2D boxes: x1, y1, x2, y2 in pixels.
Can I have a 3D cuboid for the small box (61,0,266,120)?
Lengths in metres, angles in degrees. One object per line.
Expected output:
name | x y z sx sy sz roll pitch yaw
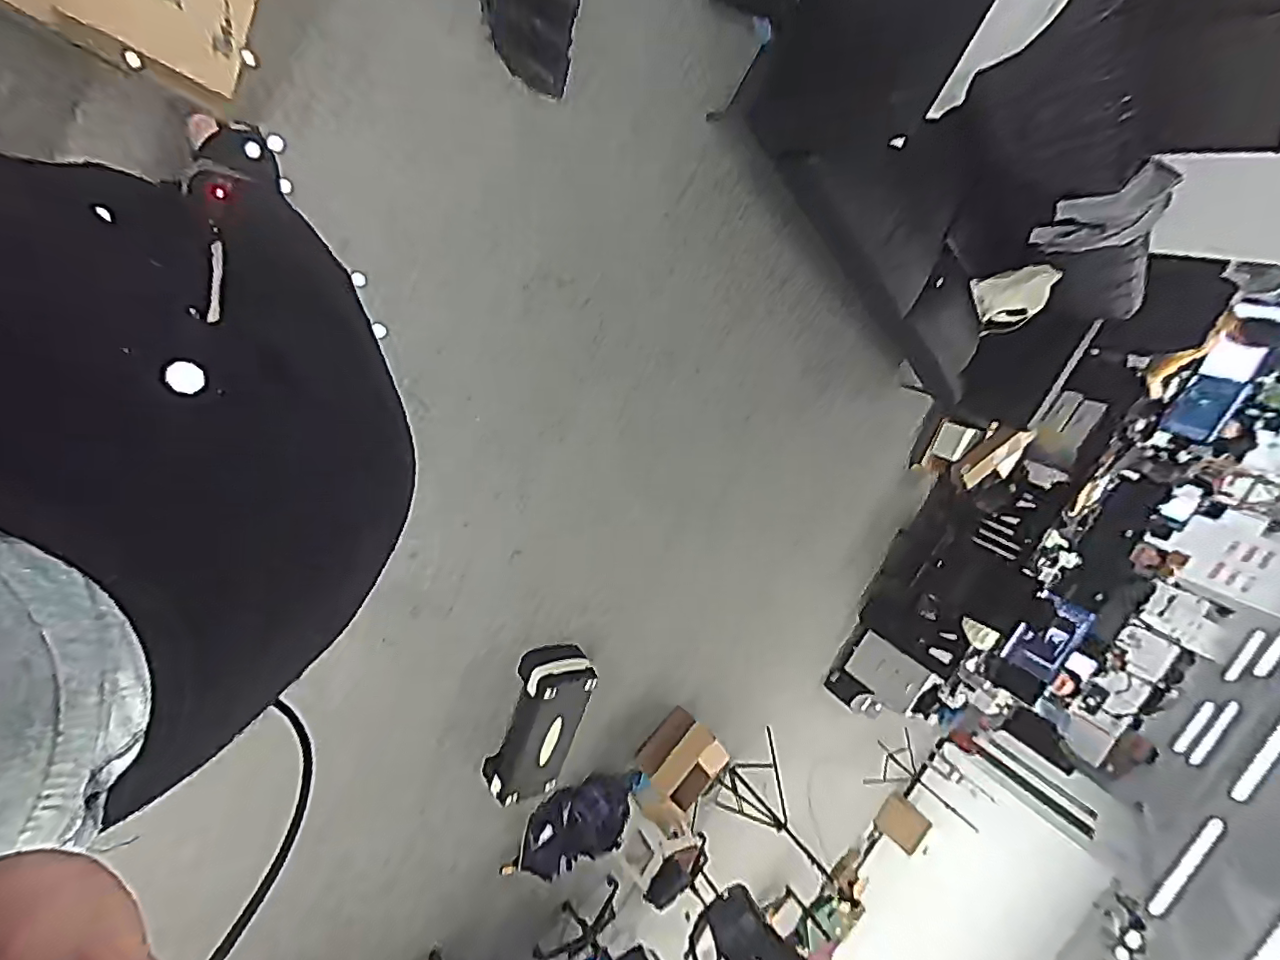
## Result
small box | -0.647 -0.628 0.745 0.179 0.176 0.168 12 105 -44
